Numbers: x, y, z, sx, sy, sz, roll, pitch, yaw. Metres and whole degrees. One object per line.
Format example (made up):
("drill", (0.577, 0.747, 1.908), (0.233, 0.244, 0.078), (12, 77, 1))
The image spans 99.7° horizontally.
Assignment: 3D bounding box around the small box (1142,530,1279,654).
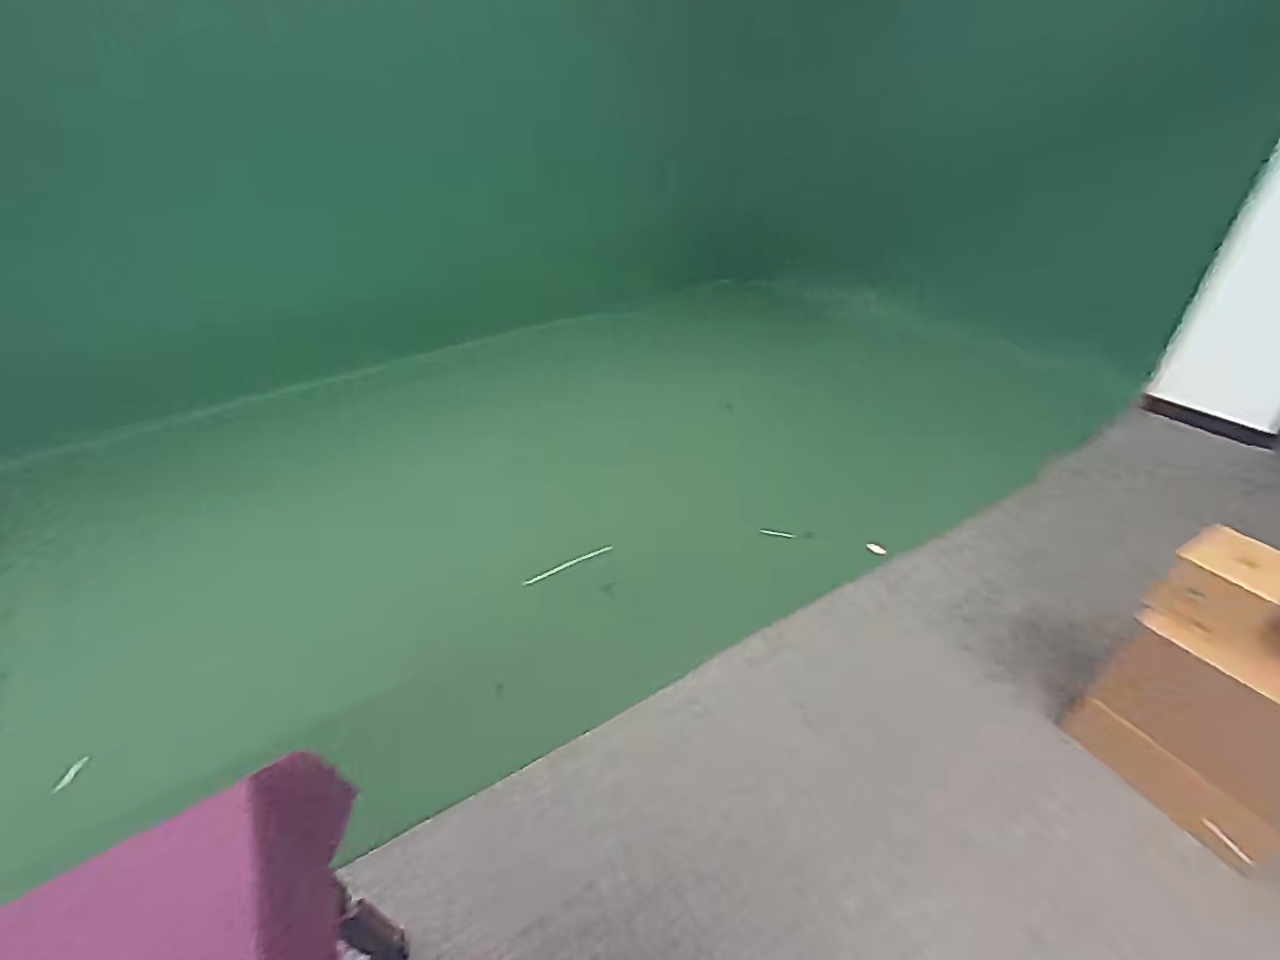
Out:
("small box", (1.266, 0.246, 1.186), (0.179, 0.176, 0.168), (-21, 42, -20))
